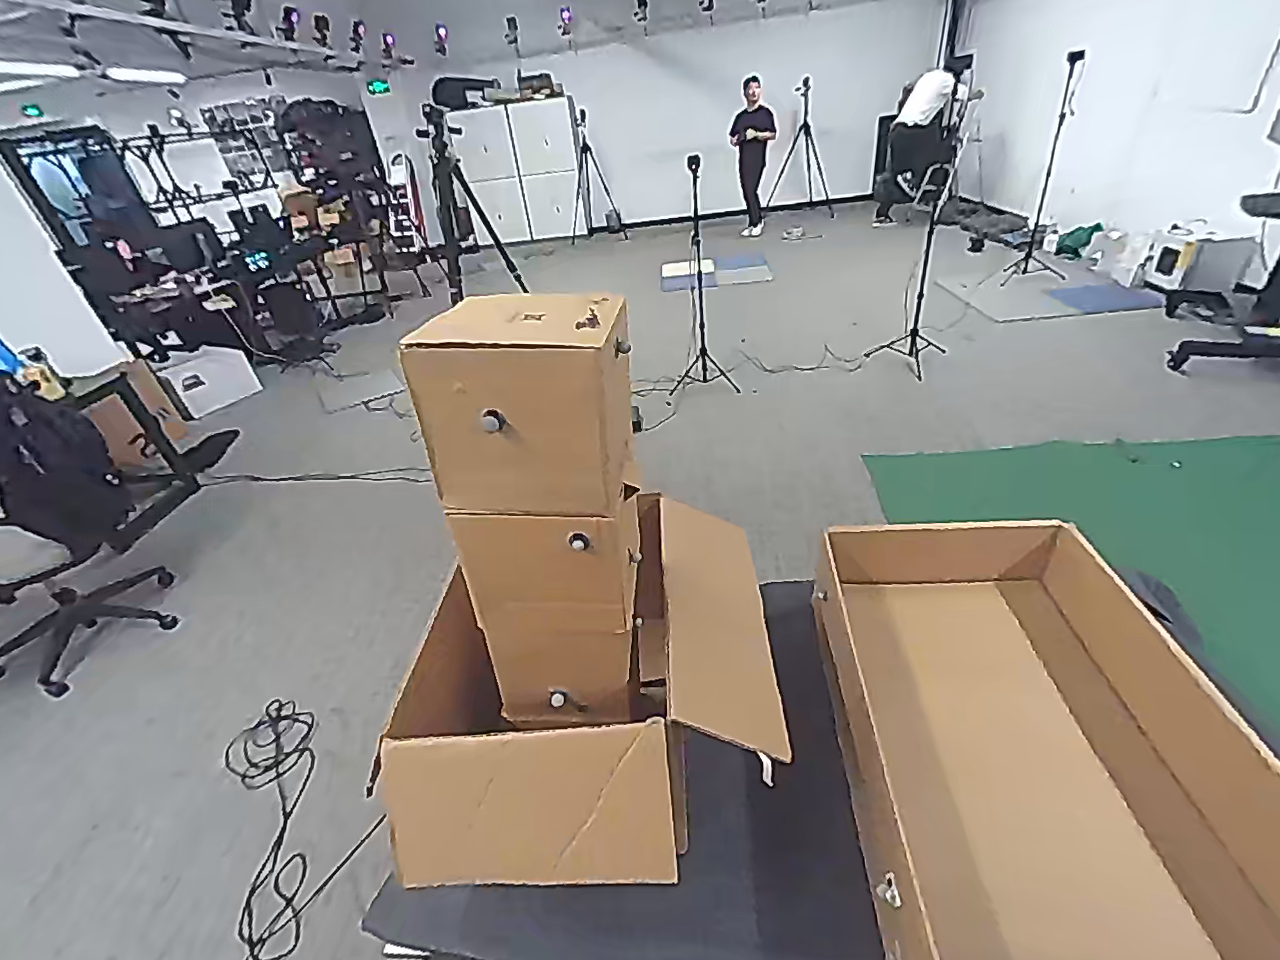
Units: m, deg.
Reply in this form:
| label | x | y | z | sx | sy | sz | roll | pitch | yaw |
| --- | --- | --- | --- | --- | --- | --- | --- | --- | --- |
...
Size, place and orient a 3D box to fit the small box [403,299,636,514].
| label | x | y | z | sx | sy | sz | roll | pitch | yaw |
| --- | --- | --- | --- | --- | --- | --- | --- | --- | --- |
| small box | -0.102 | -0.078 | 0.551 | 0.179 | 0.176 | 0.168 | 1 | 33 | 6 |

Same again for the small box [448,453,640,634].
| label | x | y | z | sx | sy | sz | roll | pitch | yaw |
| --- | --- | --- | --- | --- | --- | --- | --- | --- | --- |
| small box | -0.096 | 0.062 | 0.636 | 0.179 | 0.176 | 0.168 | 1 | 33 | 5 |
